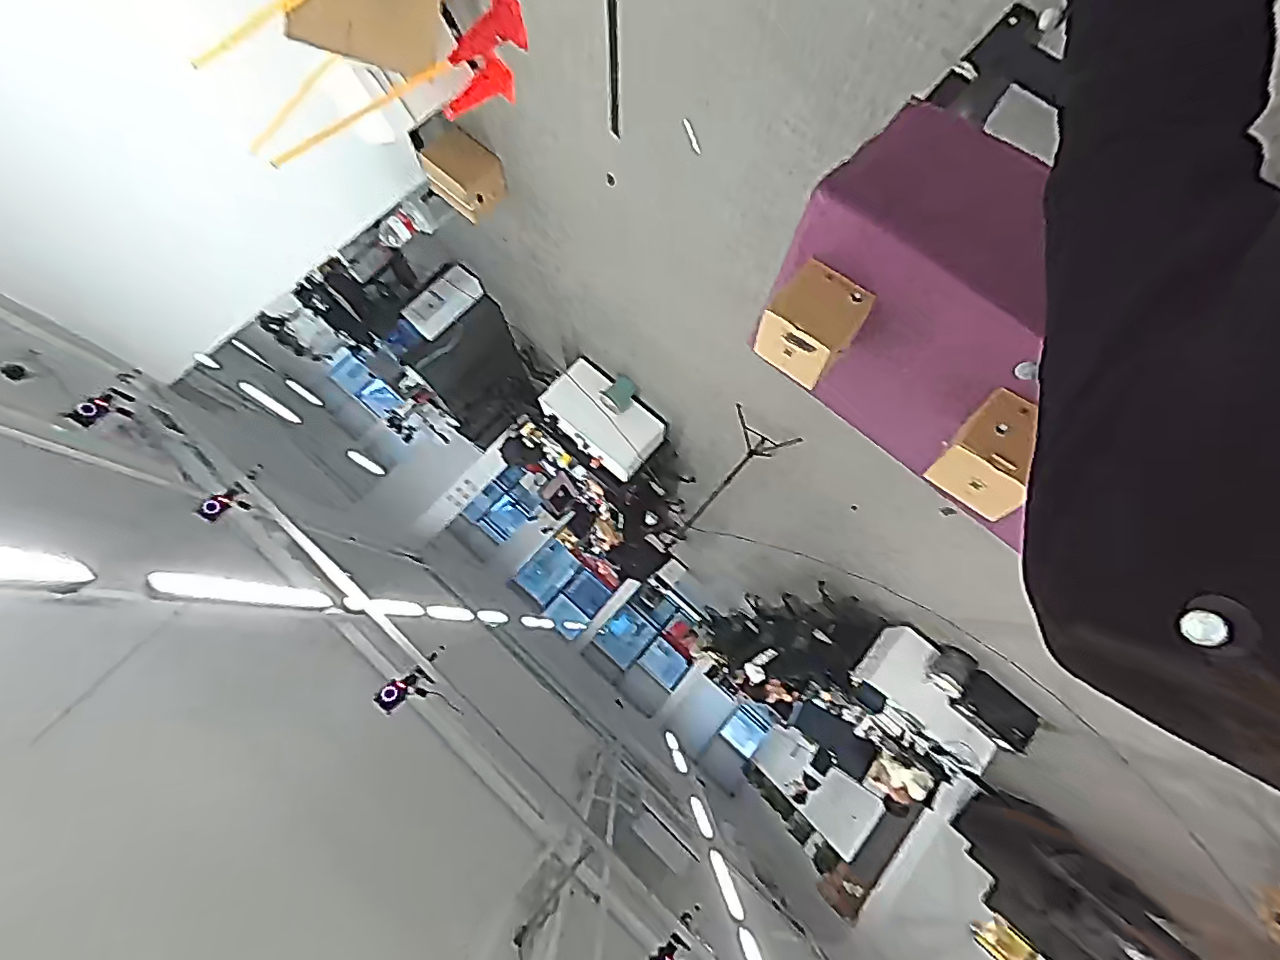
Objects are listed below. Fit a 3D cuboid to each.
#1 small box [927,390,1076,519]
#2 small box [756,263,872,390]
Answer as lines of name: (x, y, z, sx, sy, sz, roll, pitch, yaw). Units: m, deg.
small box: (0.739, -0.053, 1.108, 0.168, 0.176, 0.179, 39, 168, 18)
small box: (0.385, -0.342, 1.203, 0.168, 0.176, 0.179, 39, 169, 14)
